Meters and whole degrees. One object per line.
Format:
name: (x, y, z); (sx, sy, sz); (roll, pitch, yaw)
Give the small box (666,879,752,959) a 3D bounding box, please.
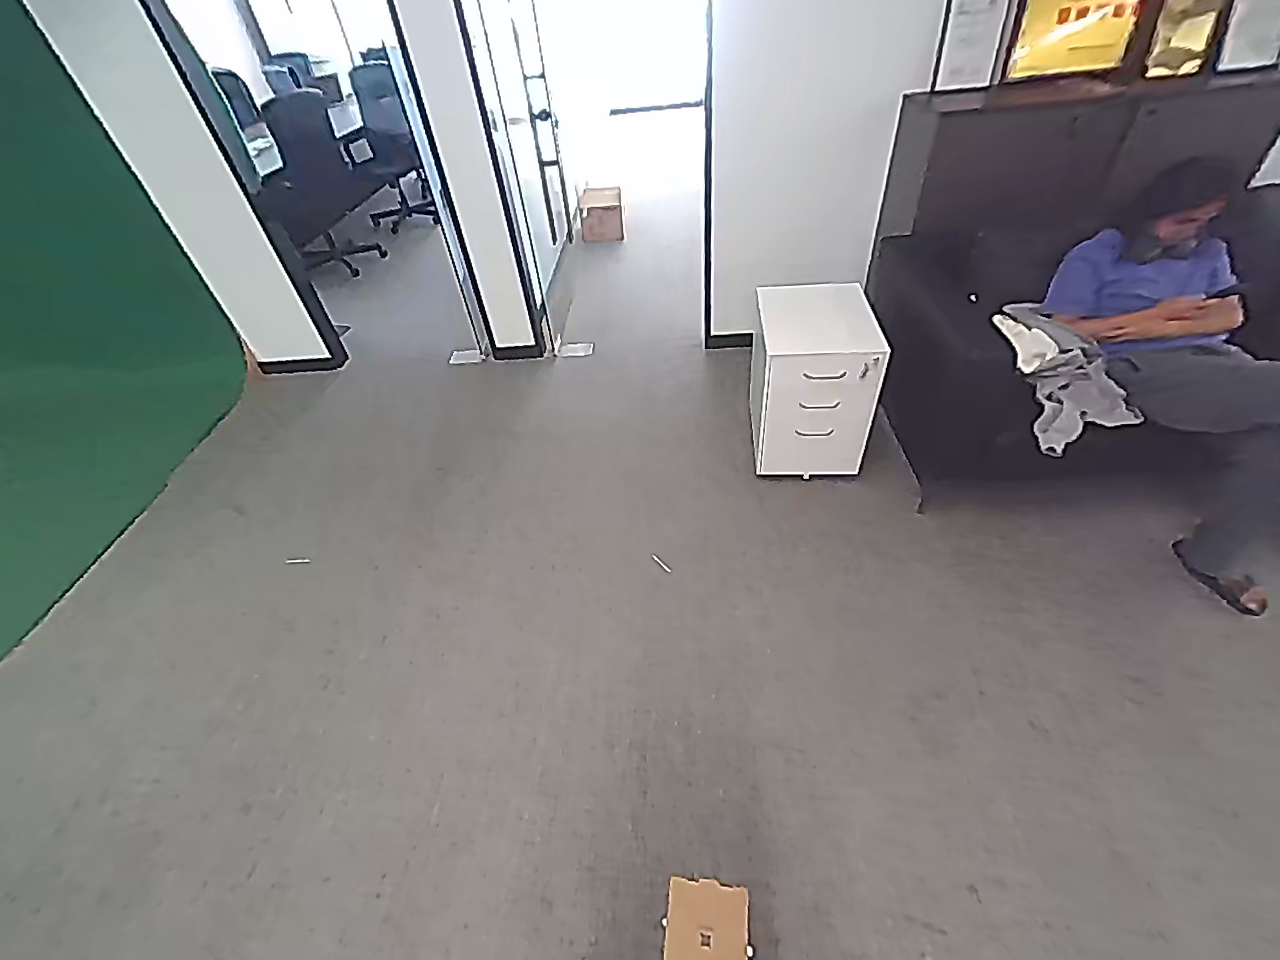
small box: (0.143, 0.972, 1.127); (0.168, 0.176, 0.179); (3, 43, 9)
